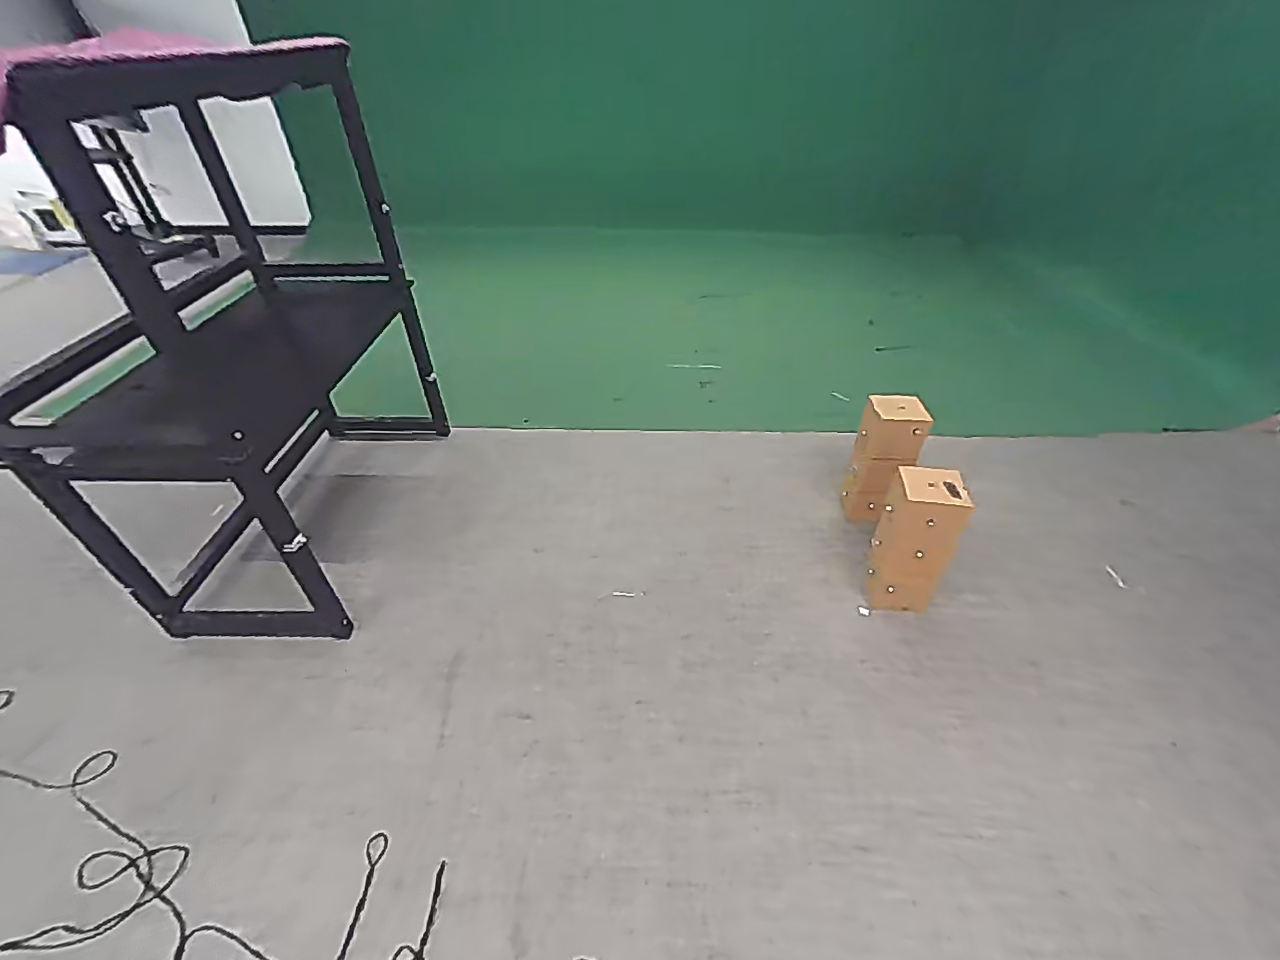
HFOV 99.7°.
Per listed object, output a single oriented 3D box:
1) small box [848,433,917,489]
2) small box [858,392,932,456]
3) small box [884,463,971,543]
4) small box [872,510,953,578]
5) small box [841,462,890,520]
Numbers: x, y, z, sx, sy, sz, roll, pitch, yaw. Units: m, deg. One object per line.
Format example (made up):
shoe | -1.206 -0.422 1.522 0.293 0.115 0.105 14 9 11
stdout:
small box | 0.917 -0.077 2.061 0.179 0.176 0.168 1 40 2
small box | 0.913 -0.200 1.951 0.179 0.176 0.168 2 40 2
small box | 0.863 0.072 1.640 0.179 0.176 0.168 6 41 9
small box | 0.872 0.196 1.747 0.179 0.176 0.168 5 41 7
small box | 0.919 0.044 2.170 0.179 0.176 0.168 3 41 5
